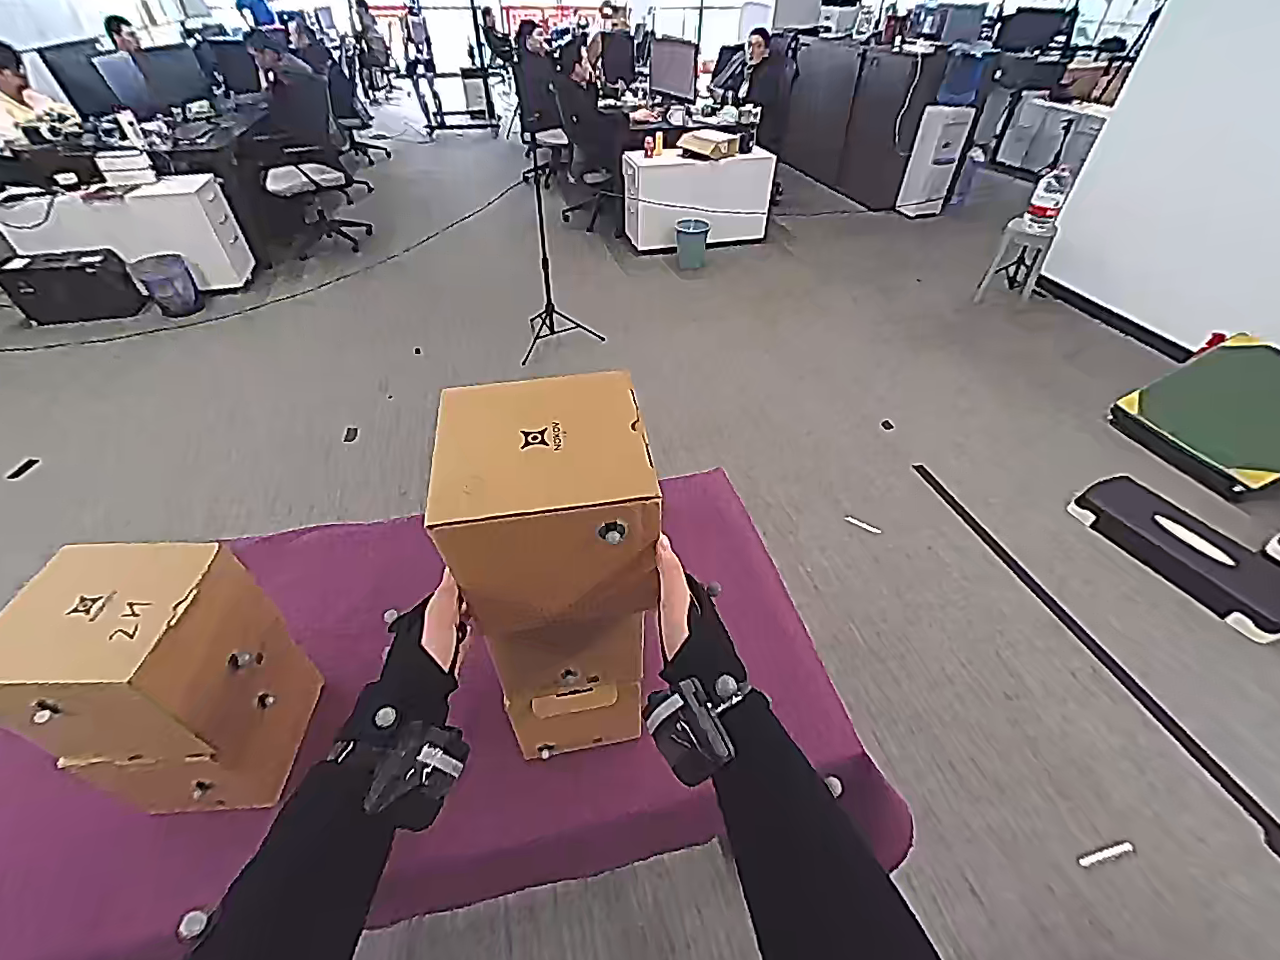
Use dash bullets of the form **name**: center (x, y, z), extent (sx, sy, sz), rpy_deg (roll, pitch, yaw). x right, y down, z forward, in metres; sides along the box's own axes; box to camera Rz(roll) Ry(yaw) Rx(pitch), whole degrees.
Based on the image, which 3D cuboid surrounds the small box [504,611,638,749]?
- **small box**: center (-0.095, 0.258, 0.764), extent (0.168, 0.176, 0.179), rpy_deg (-7, 42, -8)

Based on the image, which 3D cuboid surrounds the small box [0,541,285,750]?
- **small box**: center (-0.546, 0.185, 0.598), extent (0.179, 0.176, 0.168), rpy_deg (0, 44, -2)

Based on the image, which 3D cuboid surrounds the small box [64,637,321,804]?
- **small box**: center (-0.554, 0.307, 0.708), extent (0.168, 0.176, 0.179), rpy_deg (-1, 43, -3)

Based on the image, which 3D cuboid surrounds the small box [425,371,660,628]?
- **small box**: center (-0.080, 0.021, 0.506), extent (0.179, 0.176, 0.168), rpy_deg (-7, 47, -7)
